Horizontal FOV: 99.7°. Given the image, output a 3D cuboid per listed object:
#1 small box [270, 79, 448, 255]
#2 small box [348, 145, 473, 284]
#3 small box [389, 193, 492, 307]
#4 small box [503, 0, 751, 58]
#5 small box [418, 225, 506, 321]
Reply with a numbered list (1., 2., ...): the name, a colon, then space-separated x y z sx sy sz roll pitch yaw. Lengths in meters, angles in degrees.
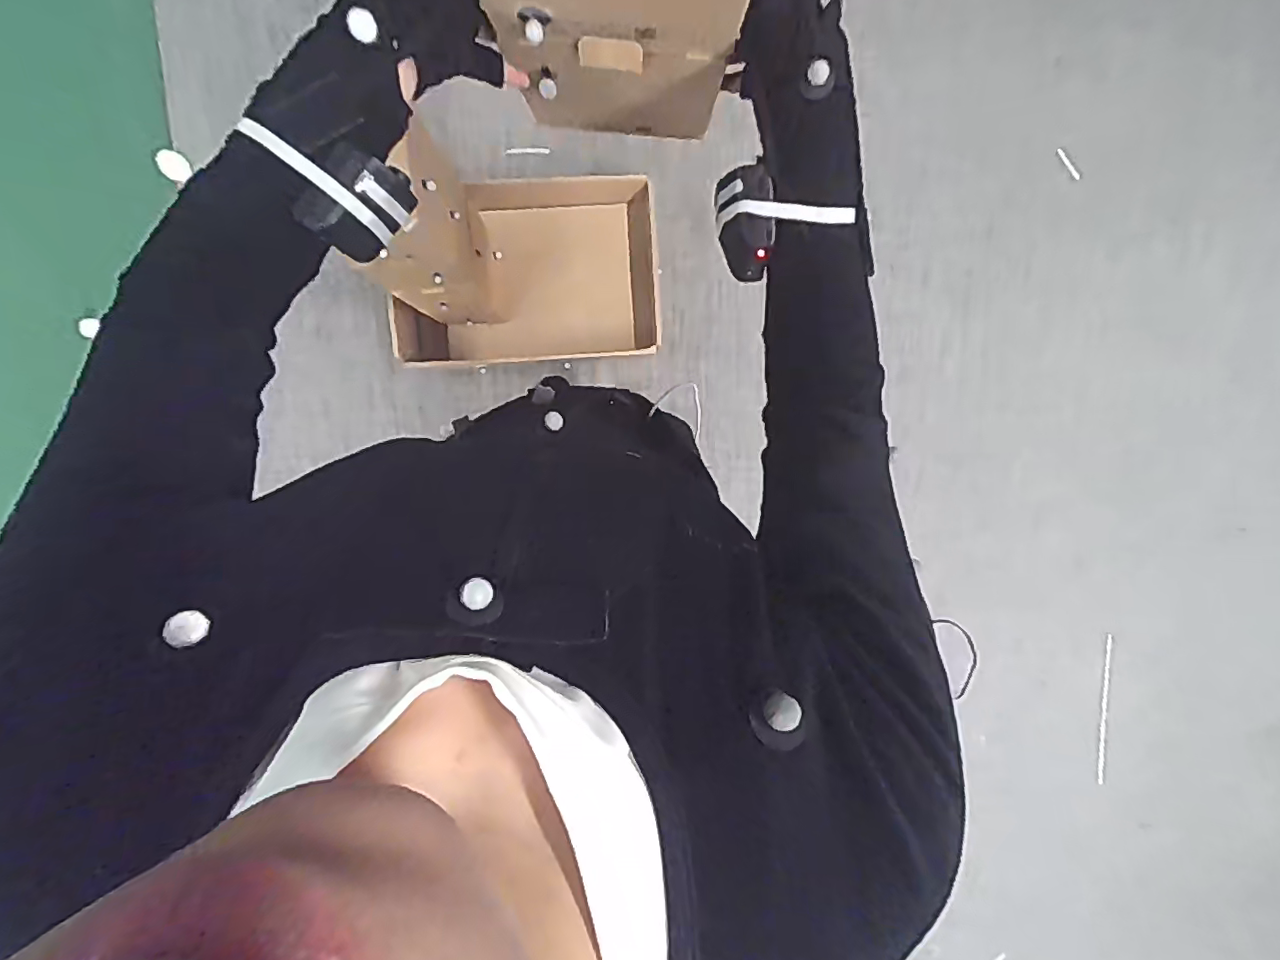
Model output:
1. small box: -0.388 -0.434 0.779 0.168 0.176 0.179 -5 98 -4
2. small box: -0.398 -0.449 0.942 0.168 0.176 0.179 -5 97 -3
3. small box: -0.405 -0.462 1.105 0.168 0.176 0.179 -3 97 -3
4. small box: -0.005 -0.352 0.267 0.168 0.176 0.179 7 106 -3
5. small box: -0.414 -0.479 1.267 0.168 0.176 0.179 -2 97 -3
